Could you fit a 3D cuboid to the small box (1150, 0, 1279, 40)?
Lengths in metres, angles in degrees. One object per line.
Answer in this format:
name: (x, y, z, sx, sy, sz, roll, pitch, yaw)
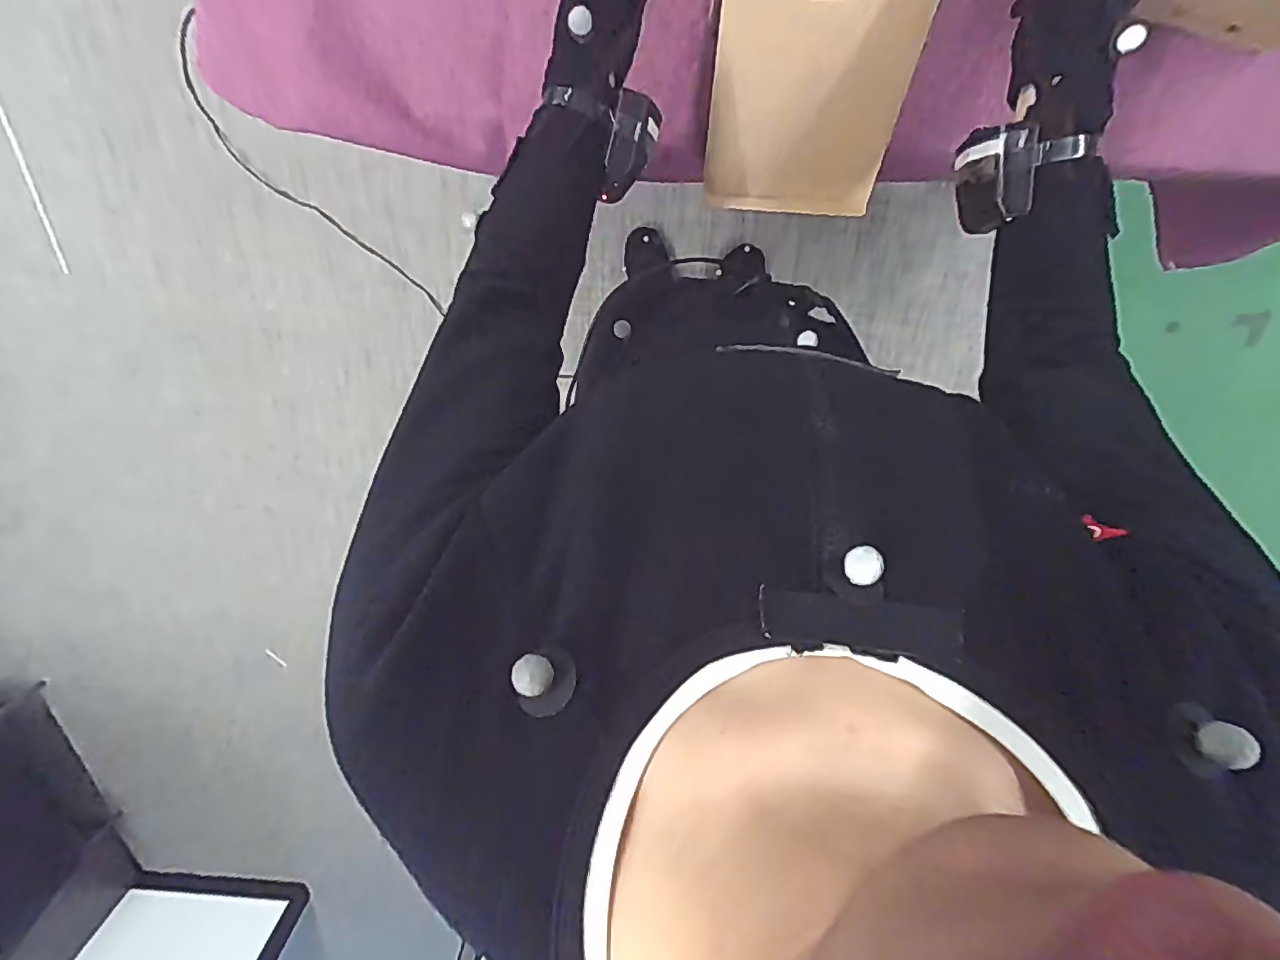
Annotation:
small box: (0.538, -0.471, 0.403, 0.168, 0.176, 0.179, 13, 115, -3)
